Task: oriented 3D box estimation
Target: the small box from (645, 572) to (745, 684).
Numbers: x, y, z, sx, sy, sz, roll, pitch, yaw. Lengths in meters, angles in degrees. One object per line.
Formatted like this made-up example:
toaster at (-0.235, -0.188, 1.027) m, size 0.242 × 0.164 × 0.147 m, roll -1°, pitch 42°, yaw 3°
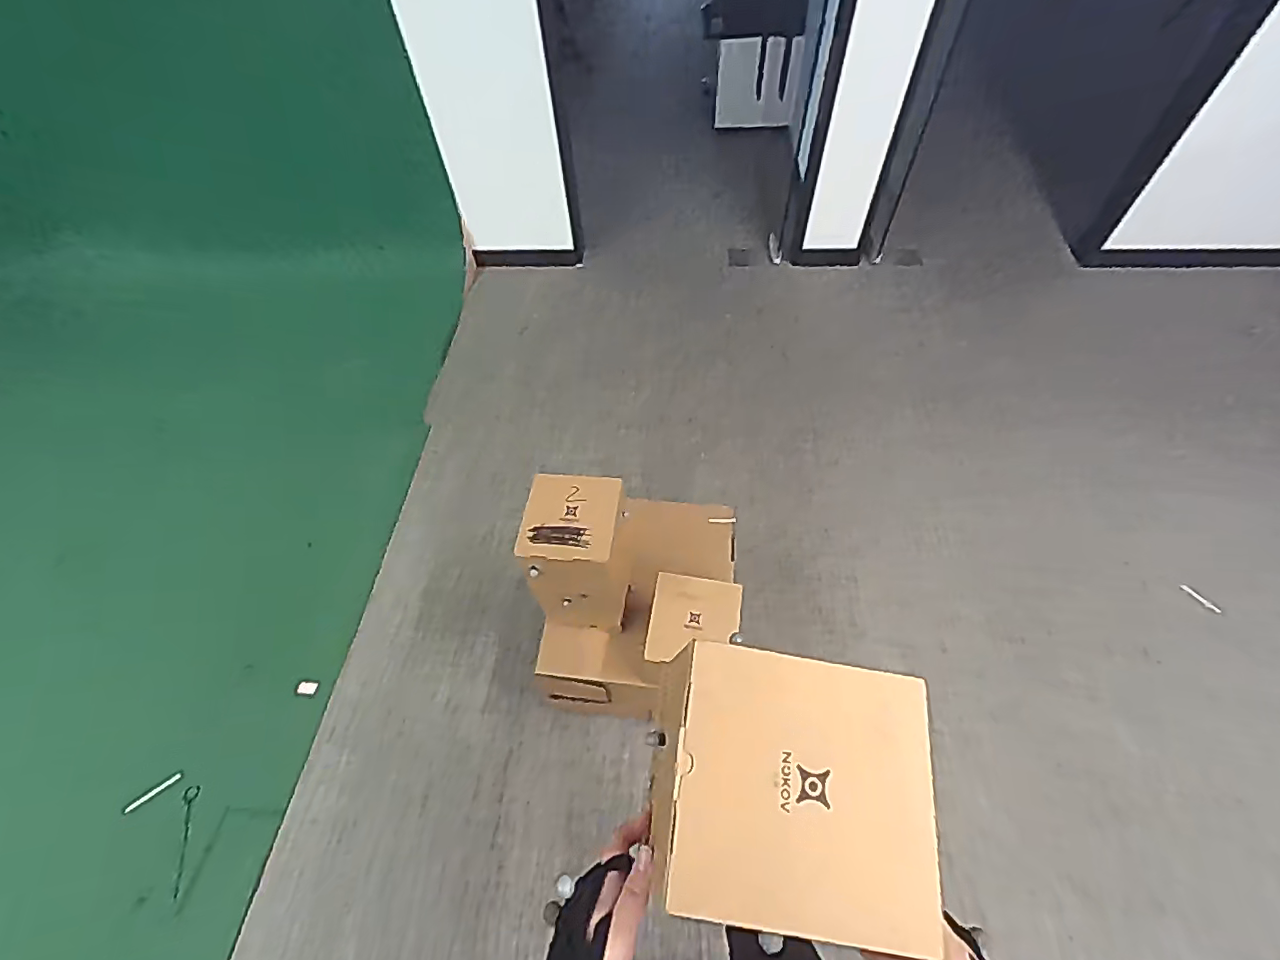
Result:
small box at (0.108, 0.306, 1.061) m, size 0.168 × 0.176 × 0.179 m, roll 8°, pitch 55°, yaw 7°

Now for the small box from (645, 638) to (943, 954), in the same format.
small box at (0.106, 0.235, 0.433) m, size 0.179 × 0.176 × 0.168 m, roll 9°, pitch 64°, yaw 1°

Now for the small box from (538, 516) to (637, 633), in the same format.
small box at (-0.101, 0.202, 1.147) m, size 0.168 × 0.176 × 0.179 m, roll 6°, pitch 54°, yaw 9°
